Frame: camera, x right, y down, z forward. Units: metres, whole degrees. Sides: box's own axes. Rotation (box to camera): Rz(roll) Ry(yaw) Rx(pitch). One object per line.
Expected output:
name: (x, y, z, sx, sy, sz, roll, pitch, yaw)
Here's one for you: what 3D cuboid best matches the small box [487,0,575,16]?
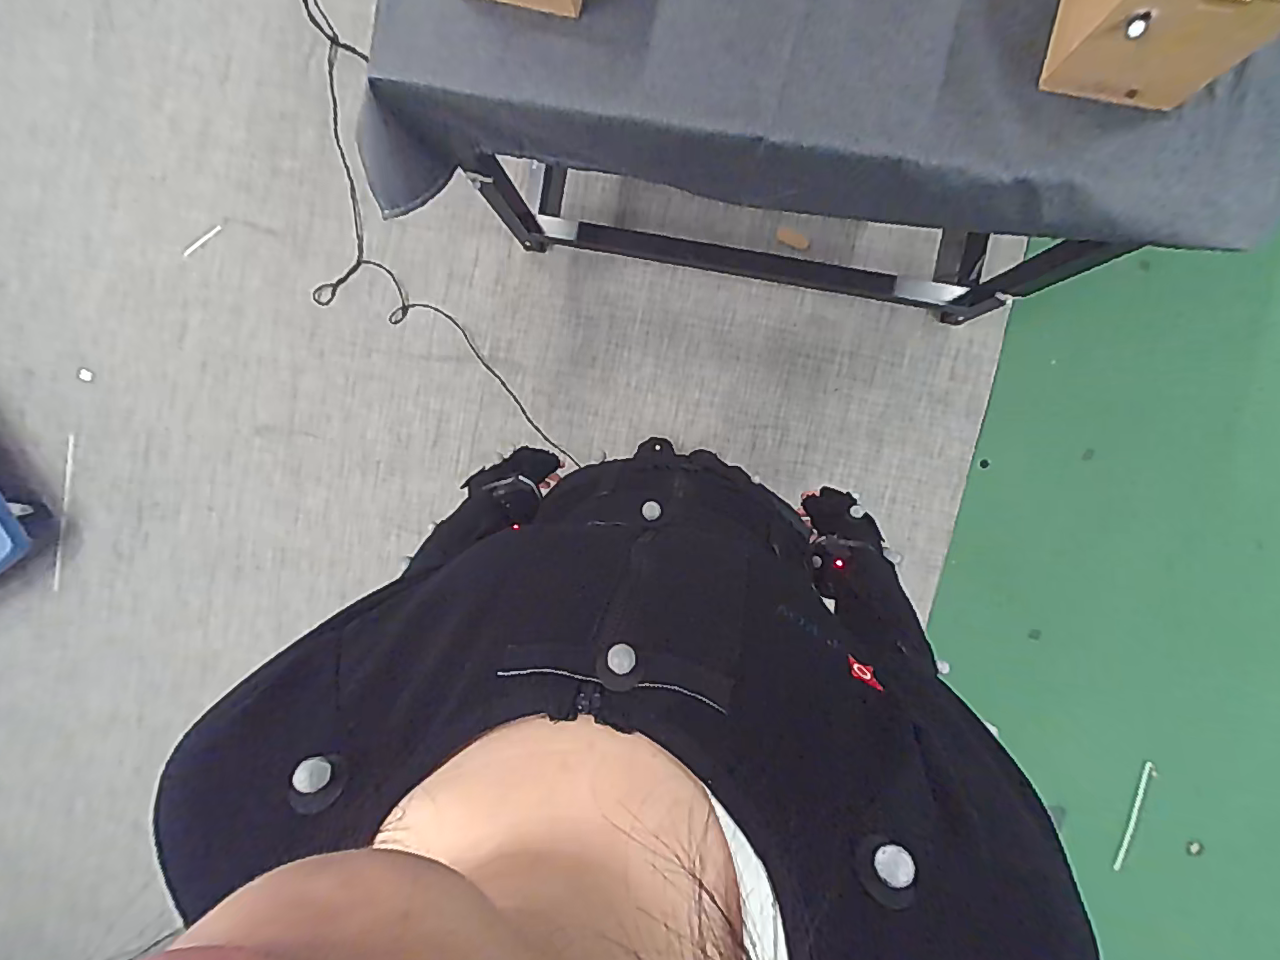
small box: (-0.153, -0.711, 0.646, 0.179, 0.176, 0.168, 14, 94, 3)
